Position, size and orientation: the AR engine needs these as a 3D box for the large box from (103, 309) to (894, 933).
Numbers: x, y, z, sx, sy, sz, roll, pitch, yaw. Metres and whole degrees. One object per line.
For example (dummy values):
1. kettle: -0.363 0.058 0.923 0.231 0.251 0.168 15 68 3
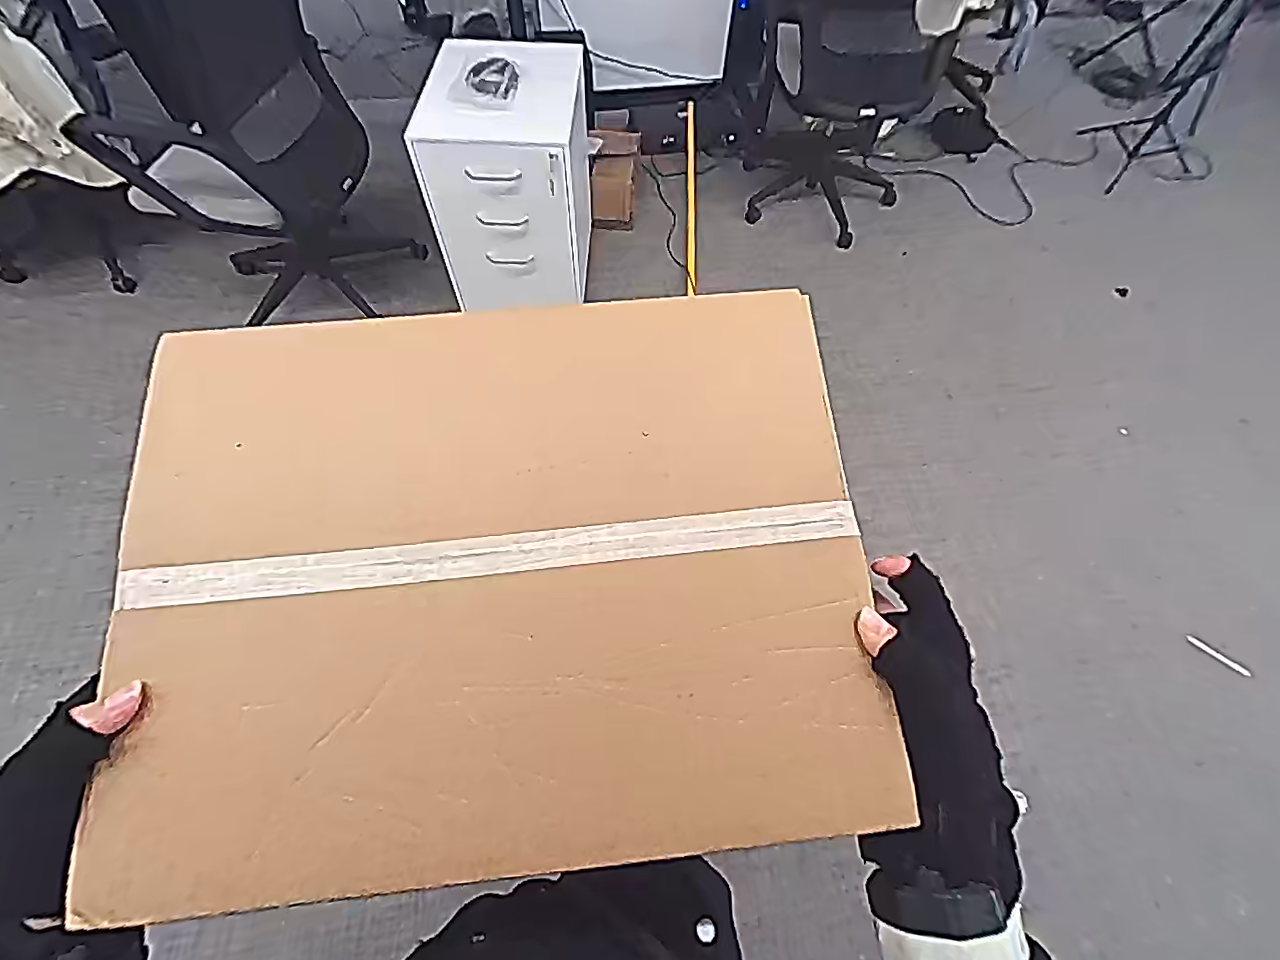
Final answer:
1. large box: -0.081 0.092 0.453 0.408 0.320 0.320 -5 73 -3
